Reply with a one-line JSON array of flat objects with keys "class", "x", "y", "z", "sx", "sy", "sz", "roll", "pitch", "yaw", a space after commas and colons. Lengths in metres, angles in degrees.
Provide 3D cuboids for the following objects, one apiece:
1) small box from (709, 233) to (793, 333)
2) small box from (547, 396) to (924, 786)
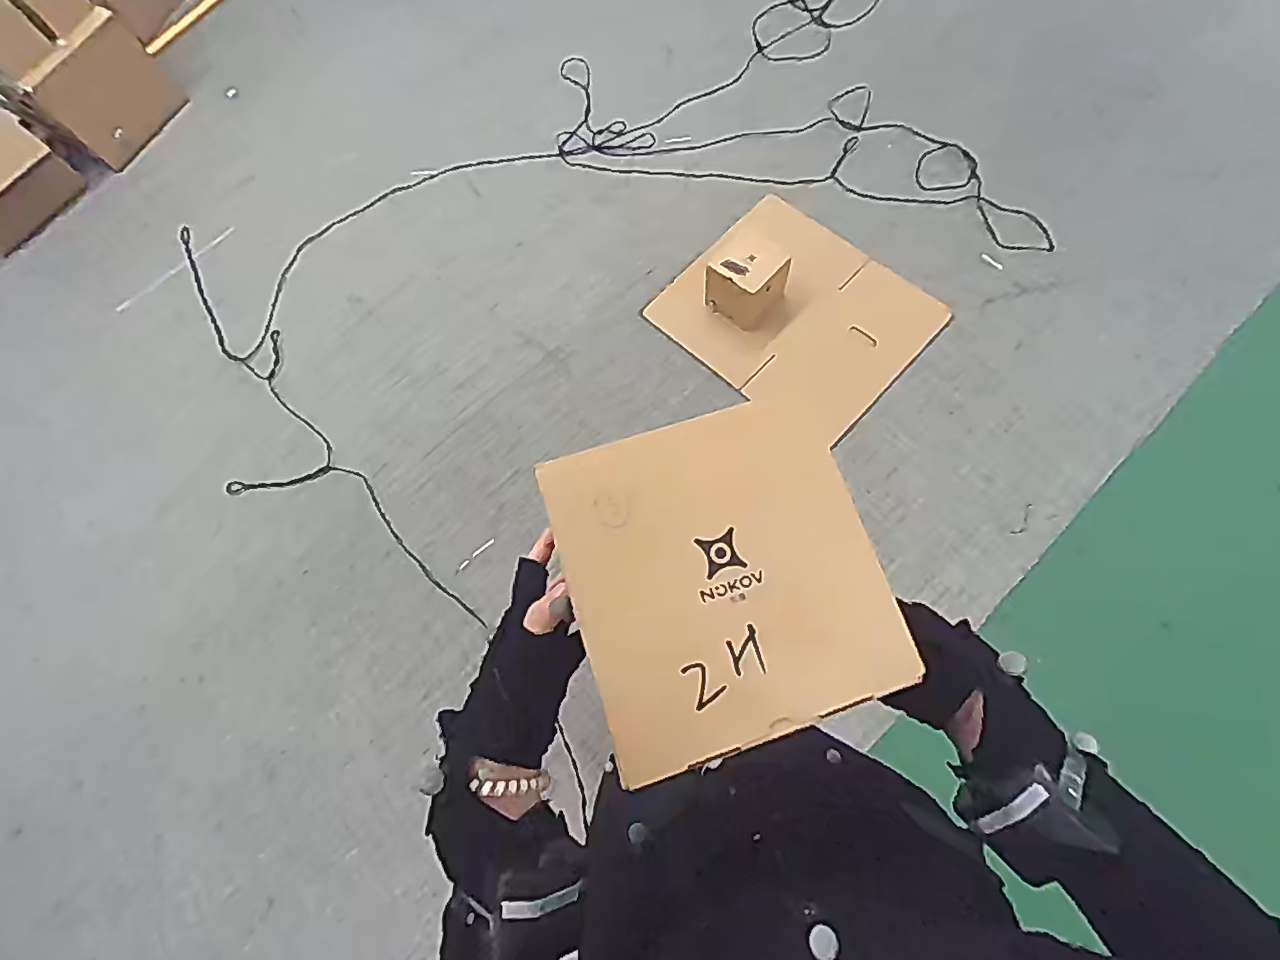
[{"class": "small box", "x": 0.314, "y": -0.563, "z": 1.562, "sx": 0.168, "sy": 0.176, "sz": 0.179, "roll": 40, "pitch": 78, "yaw": 16}, {"class": "small box", "x": 0.043, "y": 0.071, "z": 0.370, "sx": 0.168, "sy": 0.176, "sz": 0.179, "roll": -17, "pitch": 77, "yaw": -7}]
